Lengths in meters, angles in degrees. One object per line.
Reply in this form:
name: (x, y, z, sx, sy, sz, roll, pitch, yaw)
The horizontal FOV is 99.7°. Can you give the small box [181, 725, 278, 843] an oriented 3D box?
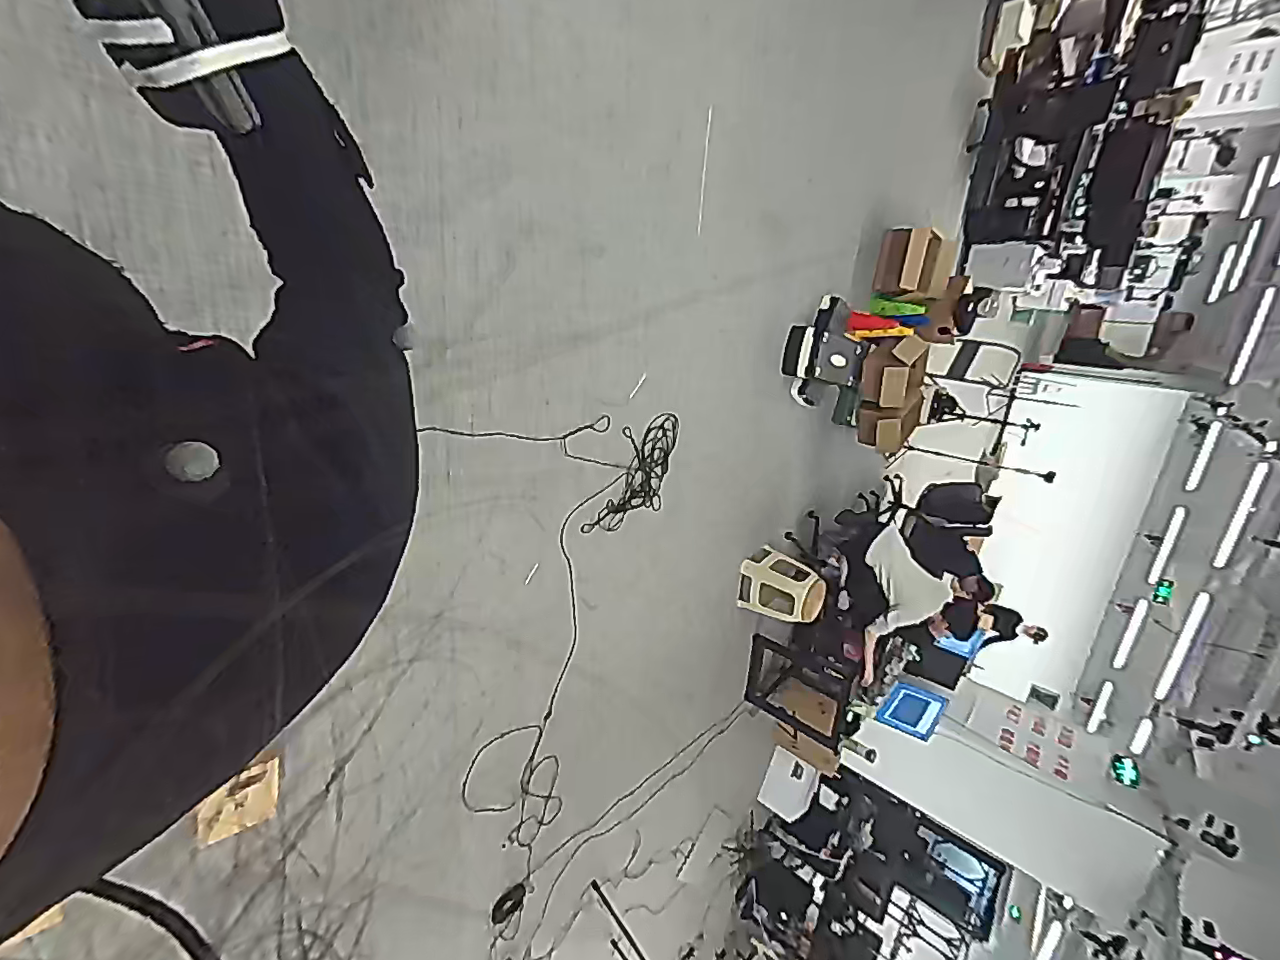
small box: (-1.042, 0.753, 1.368, 0.168, 0.176, 0.179, -5, 110, -49)
